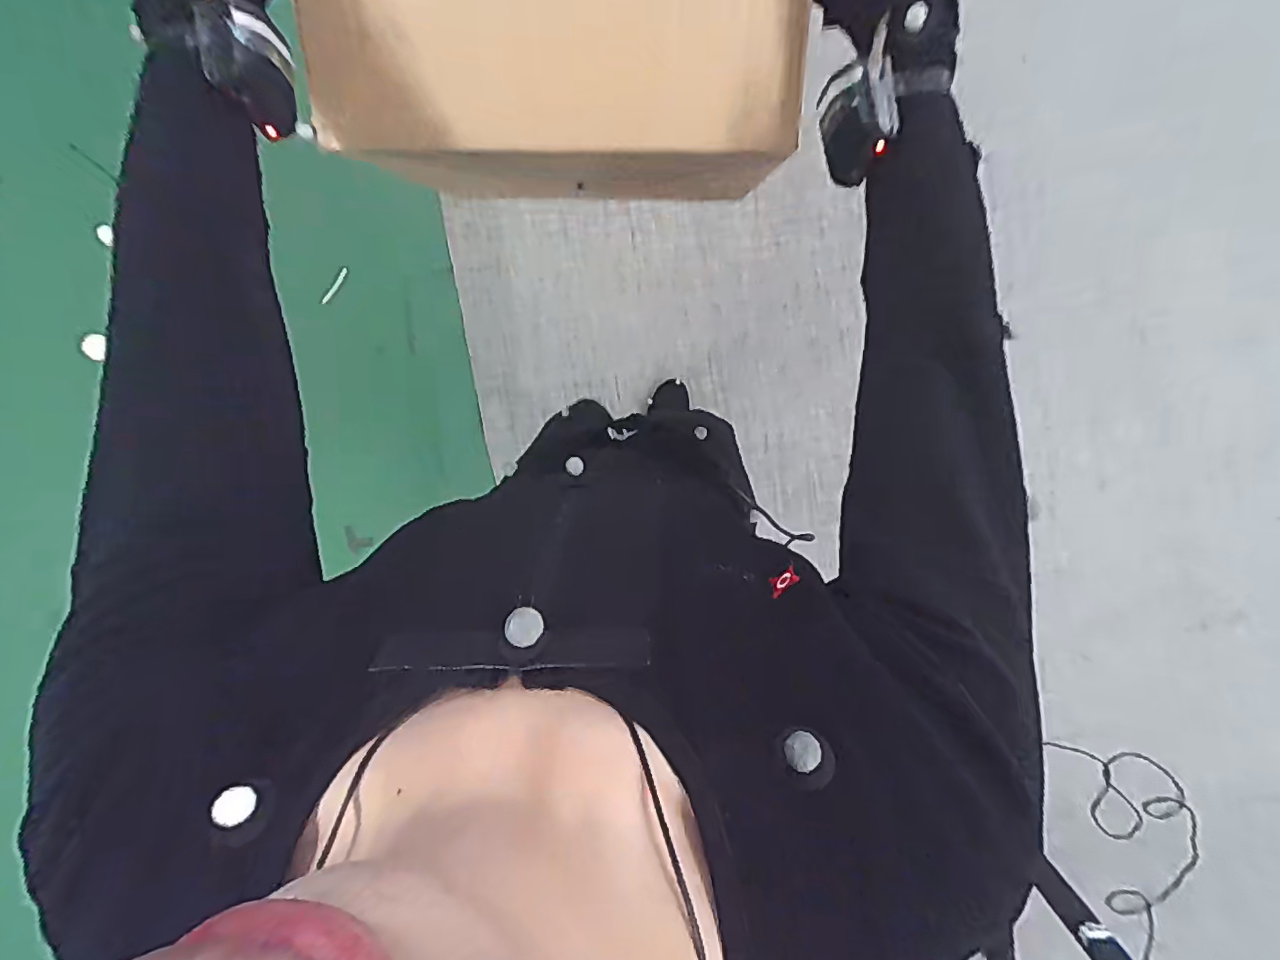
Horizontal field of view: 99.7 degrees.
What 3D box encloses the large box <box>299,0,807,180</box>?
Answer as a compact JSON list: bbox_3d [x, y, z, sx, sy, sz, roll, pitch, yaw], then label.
[{"bbox_3d":[-0.064,-0.489,0.534,0.408,0.320,0.320,1,111,2],"label":"large box"}]
